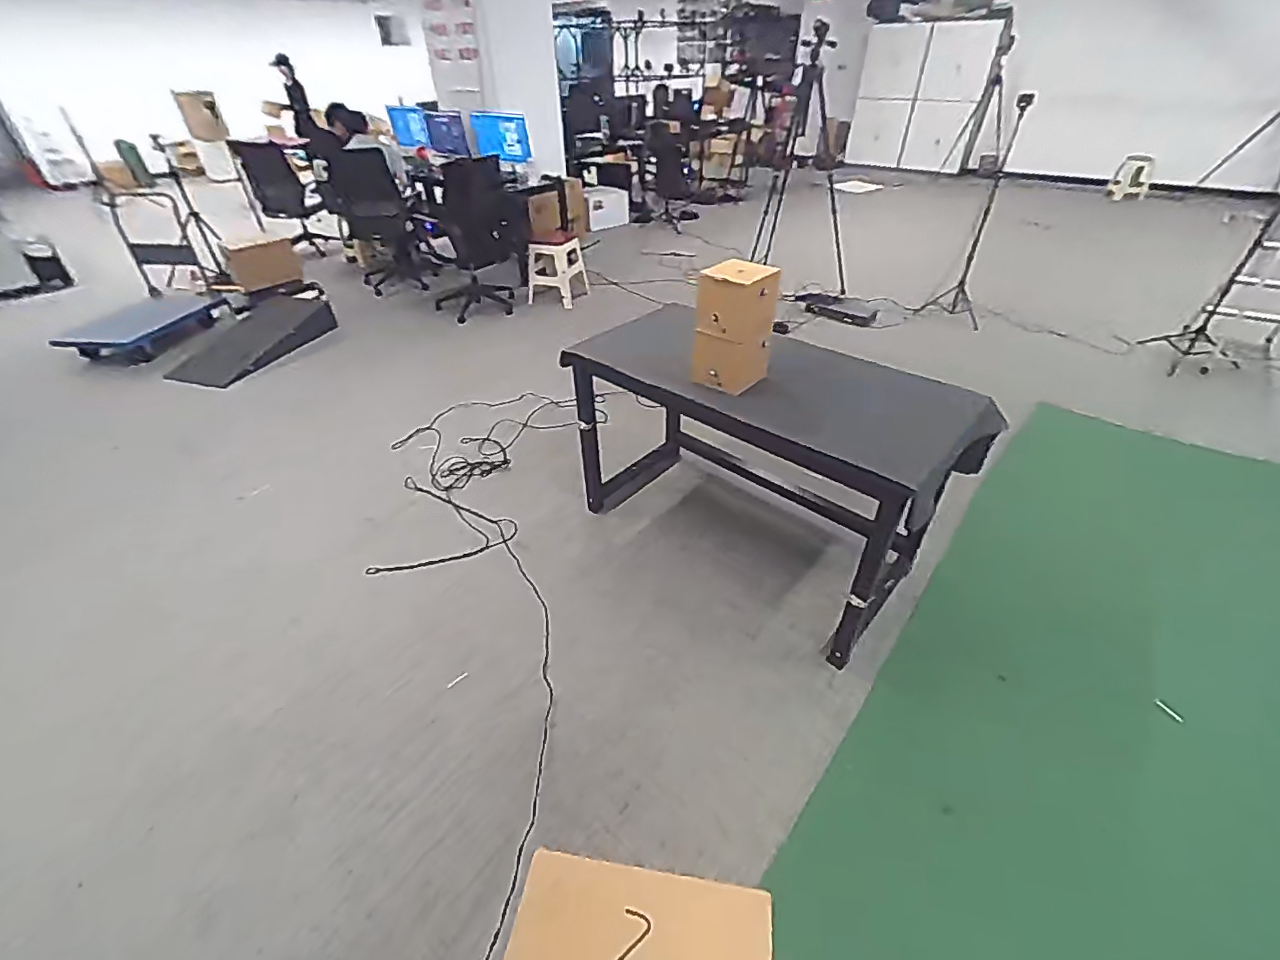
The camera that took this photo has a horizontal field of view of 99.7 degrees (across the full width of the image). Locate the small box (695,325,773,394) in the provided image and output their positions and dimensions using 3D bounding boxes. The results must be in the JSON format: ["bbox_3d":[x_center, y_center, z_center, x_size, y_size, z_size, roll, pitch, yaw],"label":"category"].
[{"bbox_3d":[0.278,-0.387,1.645,0.168,0.176,0.179,27,45,32],"label":"small box"}]

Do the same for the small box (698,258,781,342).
[{"bbox_3d":[0.277,-0.515,1.546,0.168,0.176,0.179,28,46,32],"label":"small box"}]
